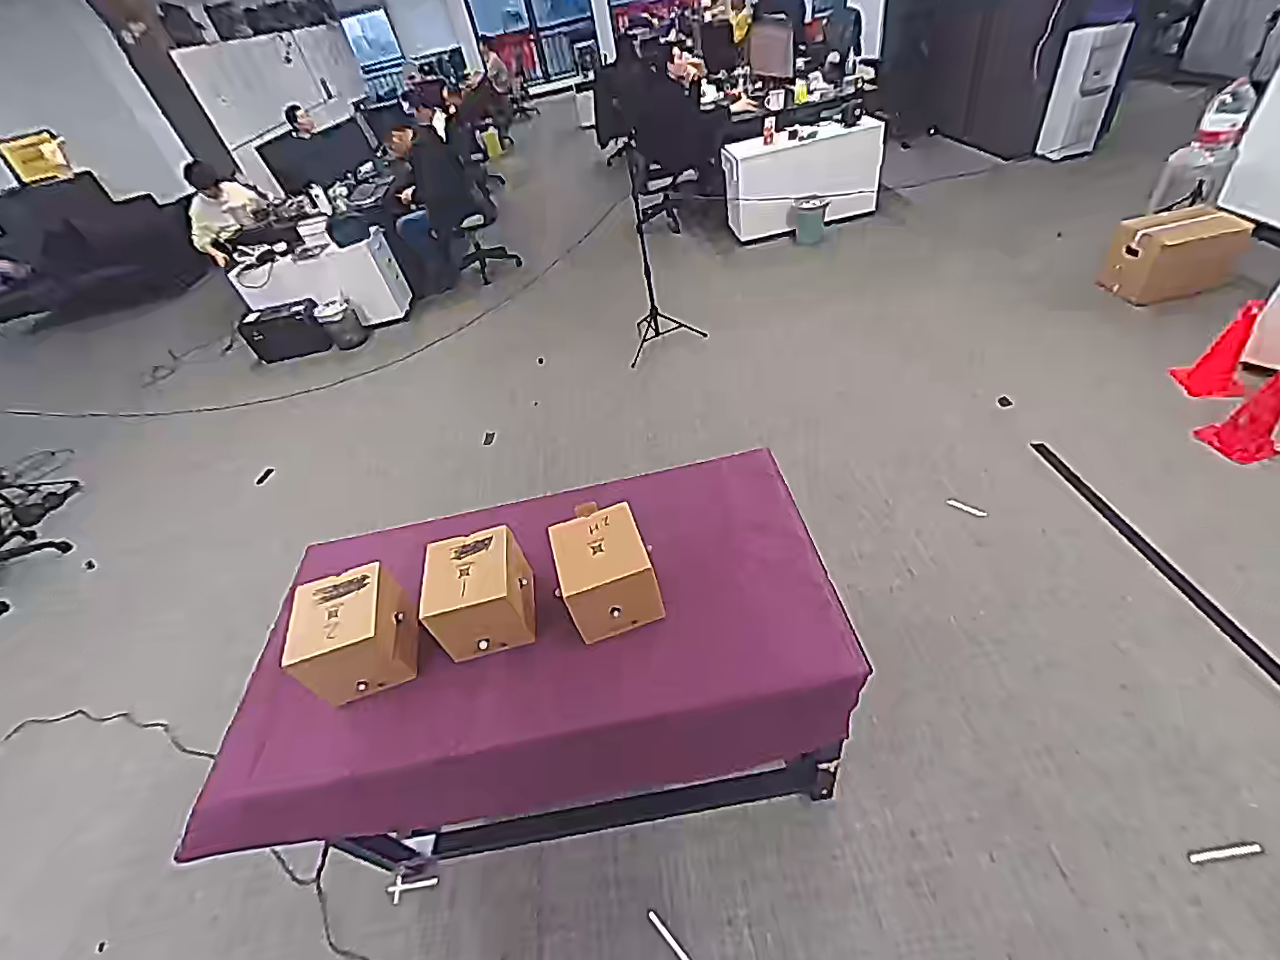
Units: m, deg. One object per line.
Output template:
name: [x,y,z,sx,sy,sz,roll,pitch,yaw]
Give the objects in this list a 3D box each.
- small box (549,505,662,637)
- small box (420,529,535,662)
small box: [-0.065,0.185,1.060,0.168,0.176,0.179,-18,43,-5]
small box: [-0.314,0.231,1.079,0.168,0.176,0.179,-15,44,-1]
